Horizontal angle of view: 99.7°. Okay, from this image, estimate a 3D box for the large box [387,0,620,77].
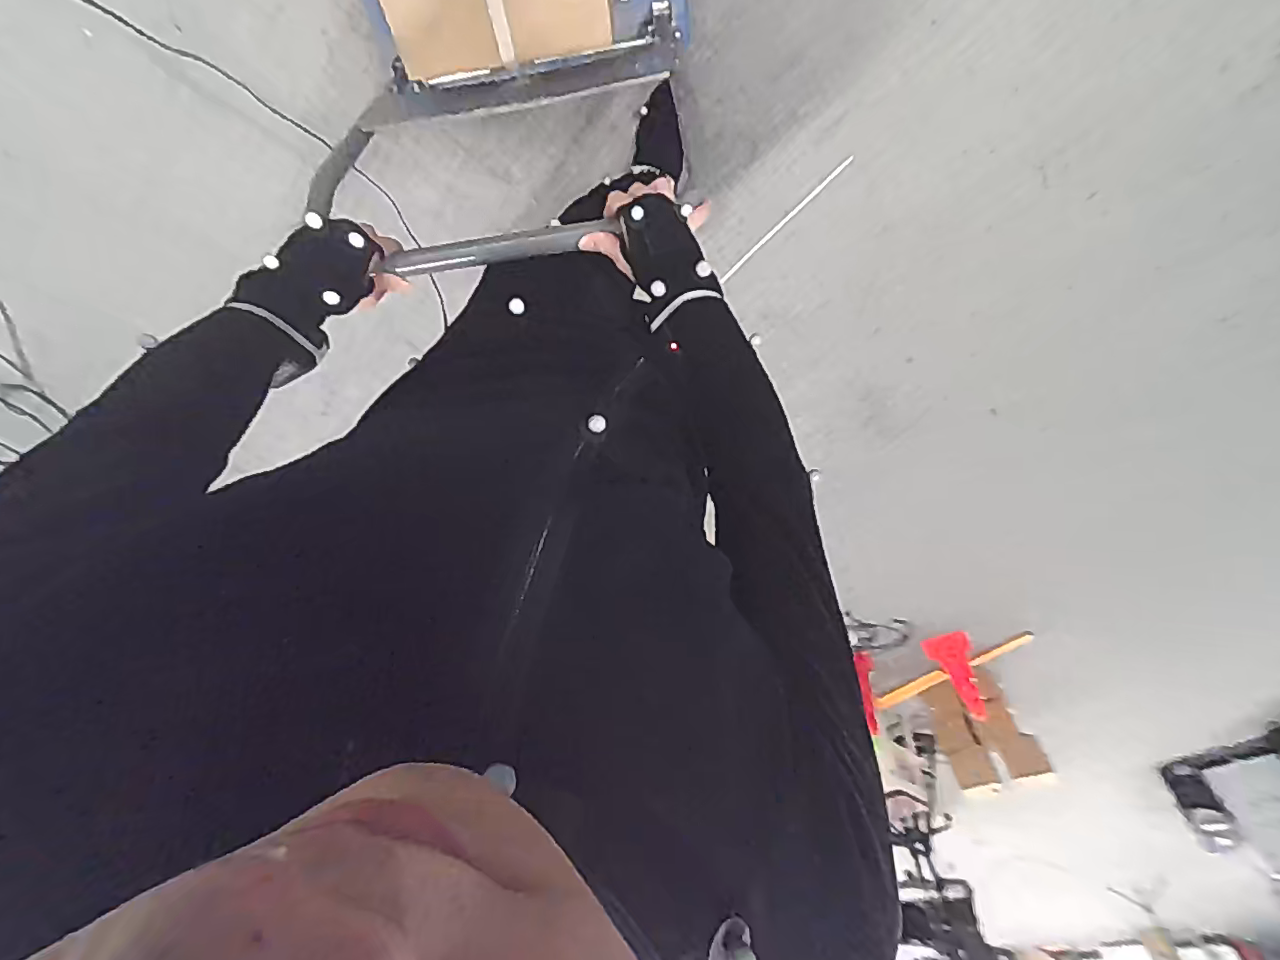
[{"bbox_3d":[-0.215,-0.859,0.751,0.320,0.320,0.408,-6,137,5],"label":"large box"}]
